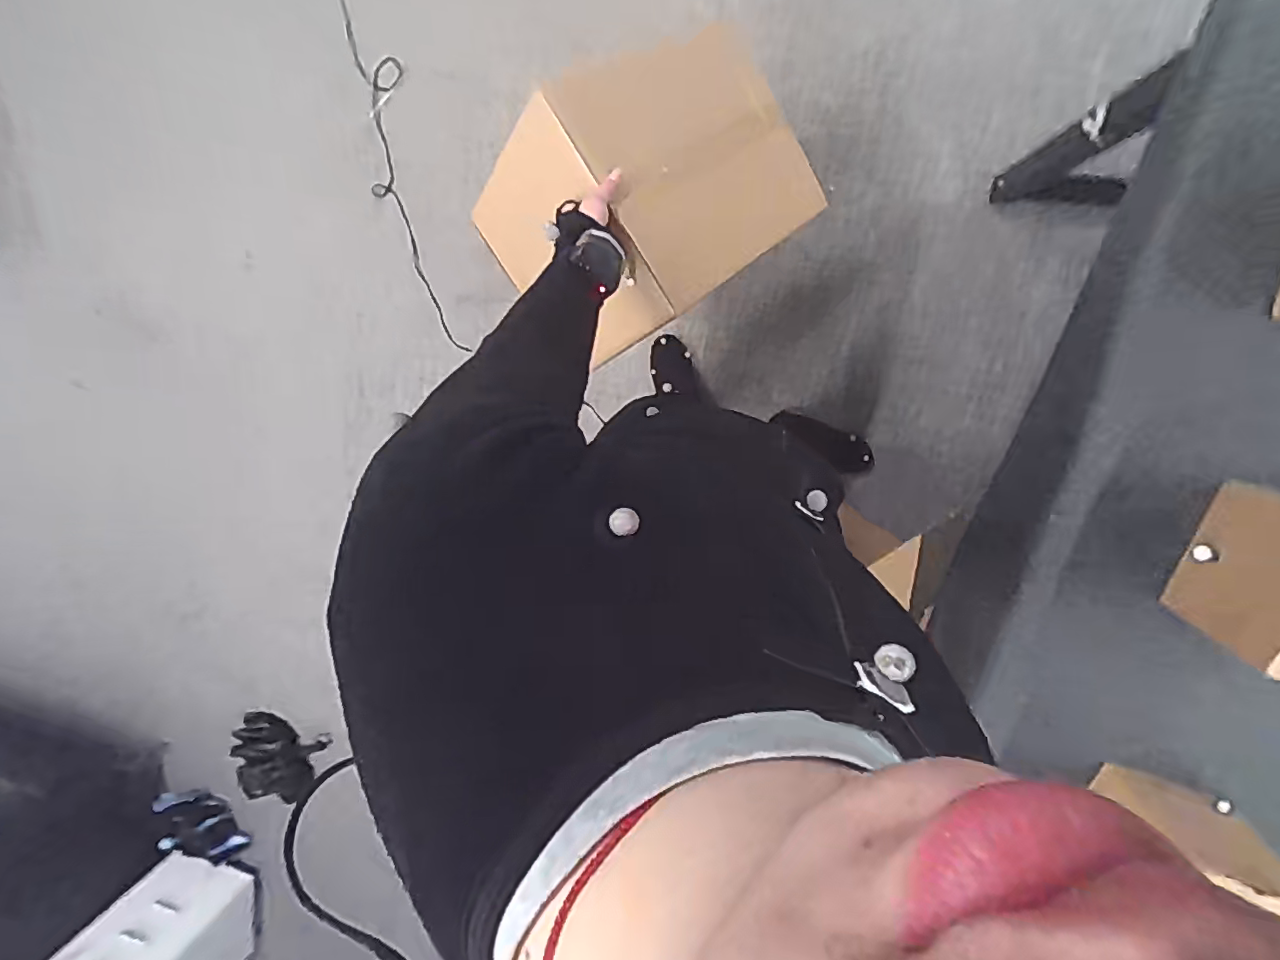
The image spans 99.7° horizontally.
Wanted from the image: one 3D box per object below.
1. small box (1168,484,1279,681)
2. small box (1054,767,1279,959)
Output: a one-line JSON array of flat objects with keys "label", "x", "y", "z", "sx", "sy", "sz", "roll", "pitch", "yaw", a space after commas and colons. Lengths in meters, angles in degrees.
[{"label": "small box", "x": 0.763, "y": 0.124, "z": 0.606, "sx": 0.168, "sy": 0.176, "sz": 0.179, "roll": 14, "pitch": 109, "yaw": 9}, {"label": "small box", "x": 0.714, "y": 0.534, "z": 0.731, "sx": 0.168, "sy": 0.176, "sz": 0.179, "roll": 18, "pitch": 109, "yaw": 8}]
